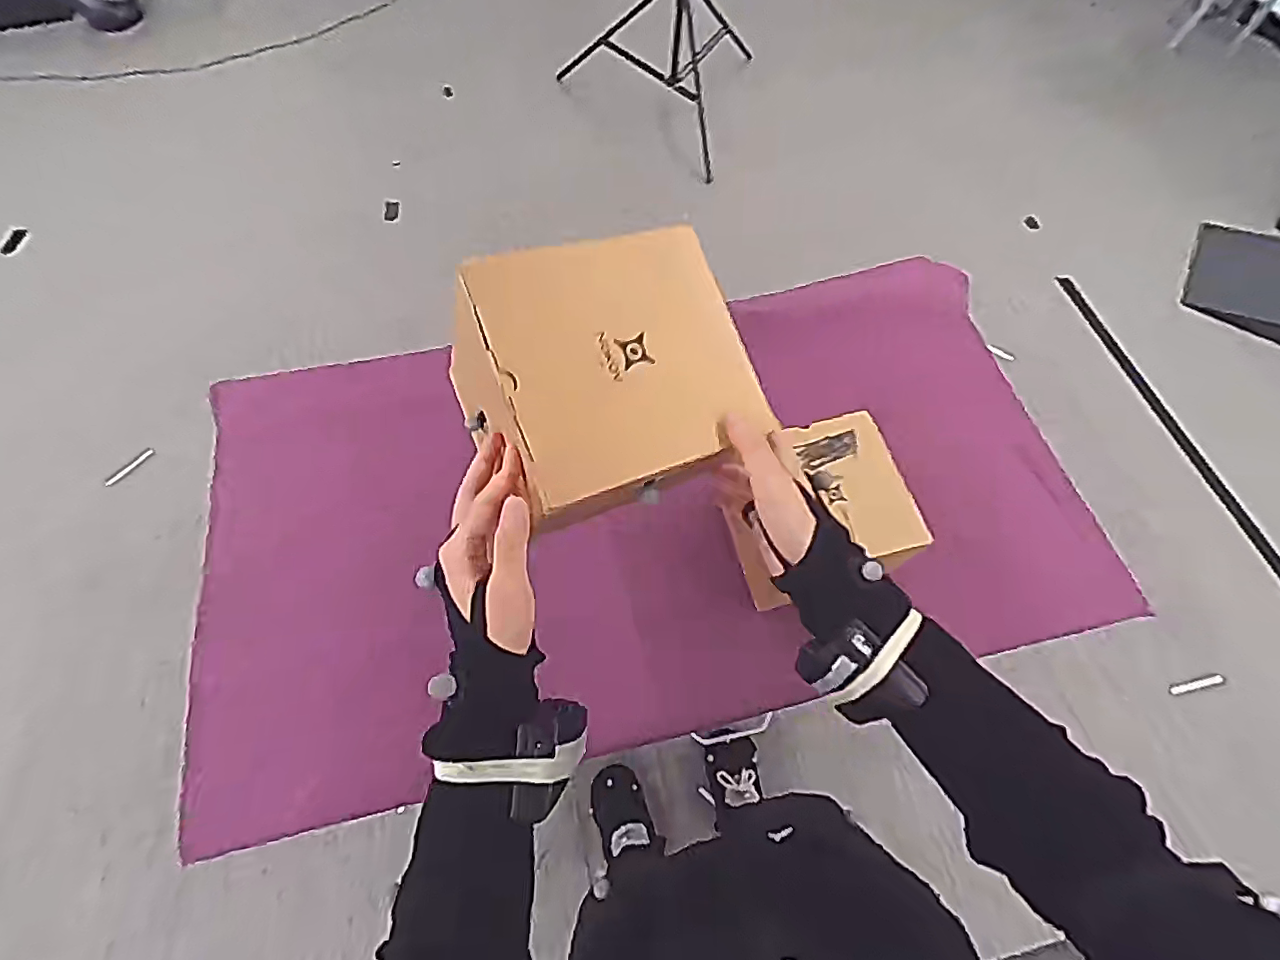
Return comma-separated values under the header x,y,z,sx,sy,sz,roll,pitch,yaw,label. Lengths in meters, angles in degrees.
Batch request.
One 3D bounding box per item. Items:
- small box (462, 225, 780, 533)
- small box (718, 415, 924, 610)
x,y,z,sx,sy,sz,roll,pitch,yaw,label
-0.030,-0.067,0.426,0.179,0.176,0.168,-19,85,-22,small box
0.208,0.046,0.682,0.168,0.176,0.179,-12,66,-7,small box
